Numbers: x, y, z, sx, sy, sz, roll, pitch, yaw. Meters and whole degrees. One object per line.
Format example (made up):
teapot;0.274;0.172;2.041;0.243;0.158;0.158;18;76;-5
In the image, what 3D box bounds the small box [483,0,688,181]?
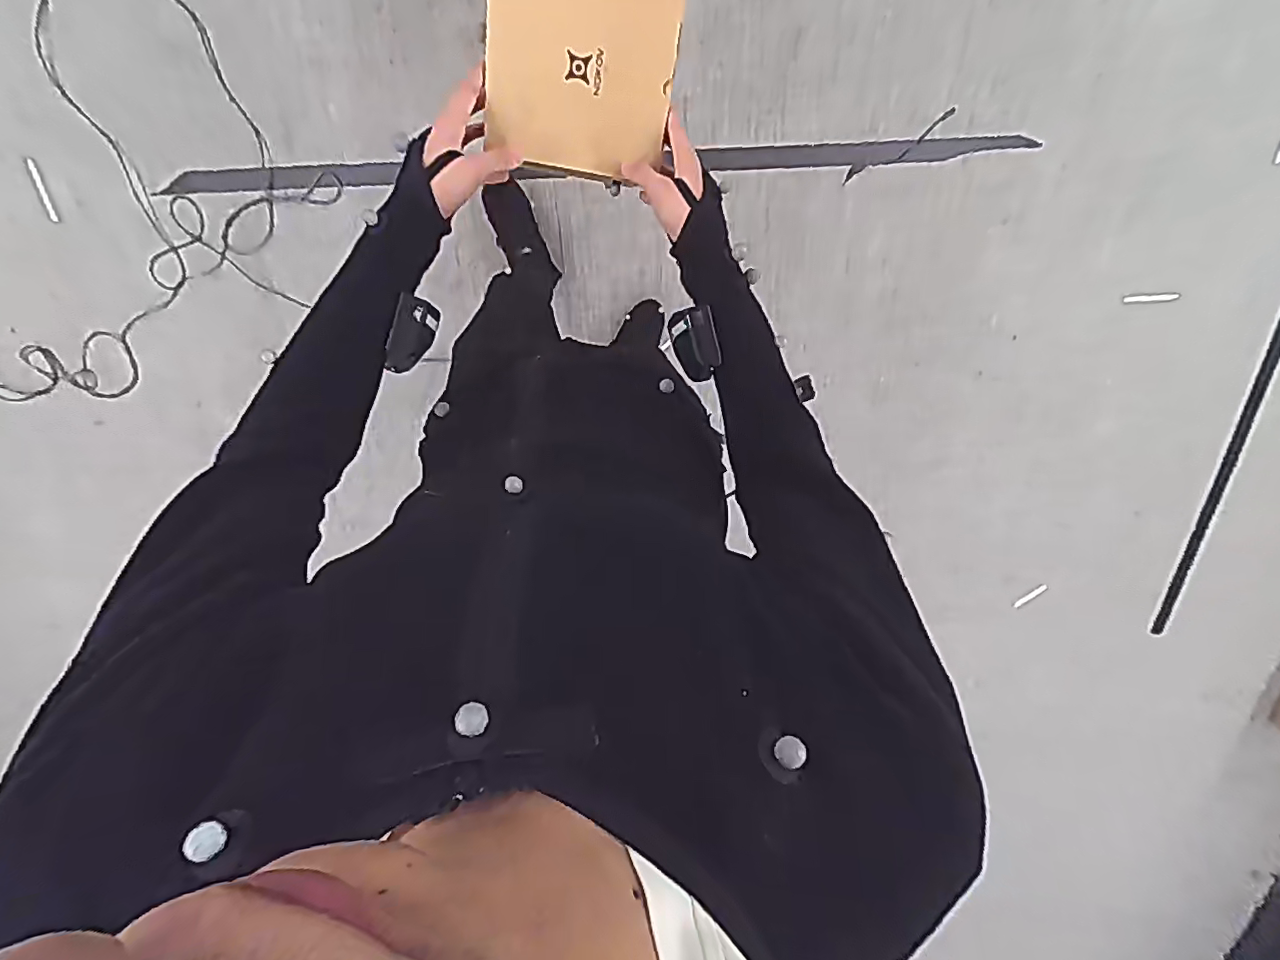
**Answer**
small box;-0.067;-0.416;0.561;0.179;0.176;0.168;2;118;-15
